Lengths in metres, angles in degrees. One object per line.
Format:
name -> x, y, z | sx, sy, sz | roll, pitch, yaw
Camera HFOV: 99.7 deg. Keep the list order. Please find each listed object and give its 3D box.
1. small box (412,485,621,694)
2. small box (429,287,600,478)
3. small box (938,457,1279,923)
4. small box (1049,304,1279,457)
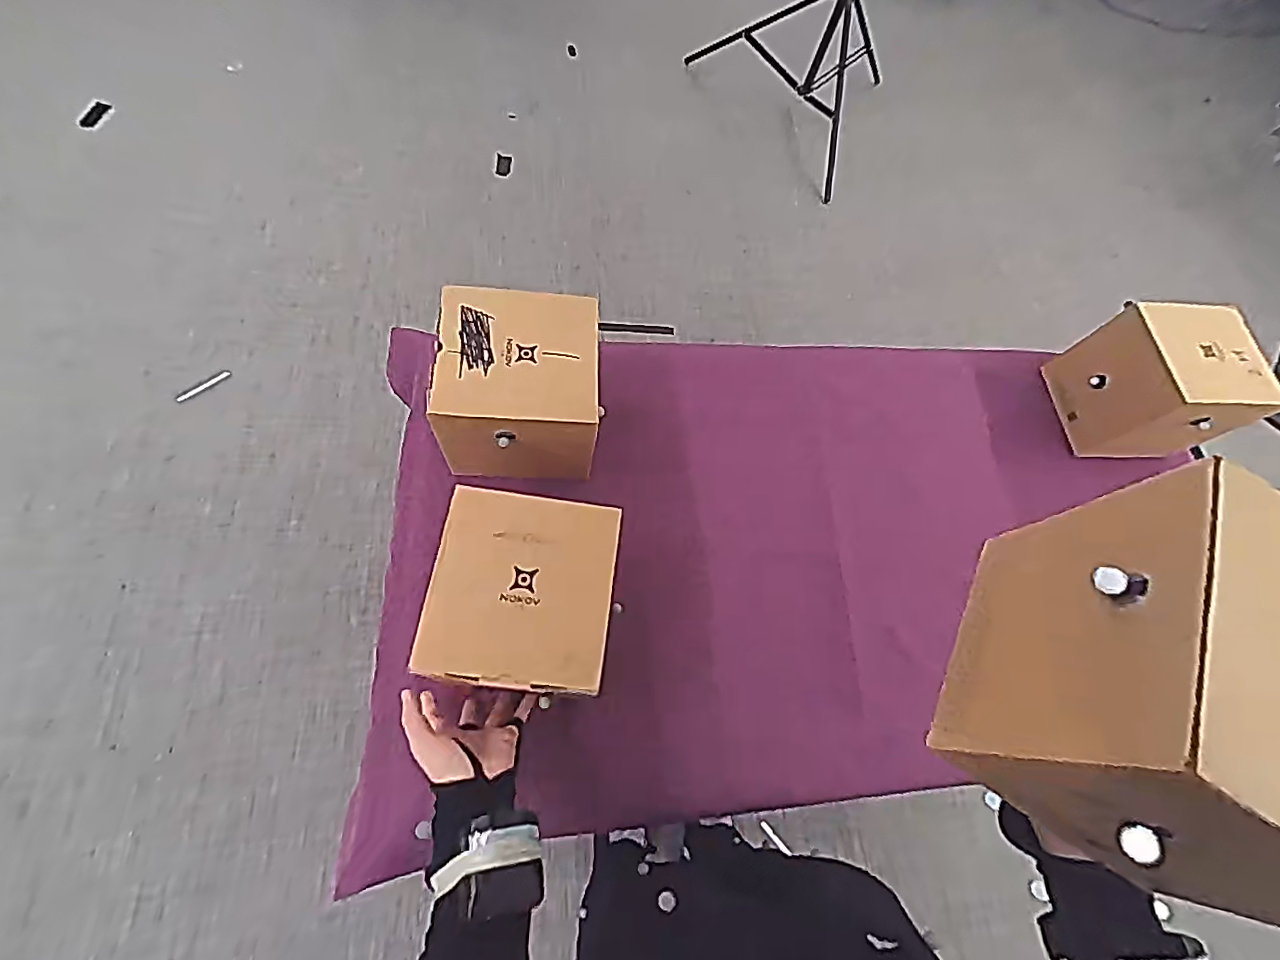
small box -> -0.119, 0.126, 0.573 | 0.168, 0.176, 0.179 | 9, 65, -7
small box -> -0.143, -0.108, 0.662 | 0.179, 0.176, 0.168 | 2, 69, -9
small box -> 0.313, 0.126, 0.316 | 0.168, 0.176, 0.179 | 32, 64, 5
small box -> 0.767, -0.142, 0.816 | 0.179, 0.176, 0.168 | 0, 68, -10
